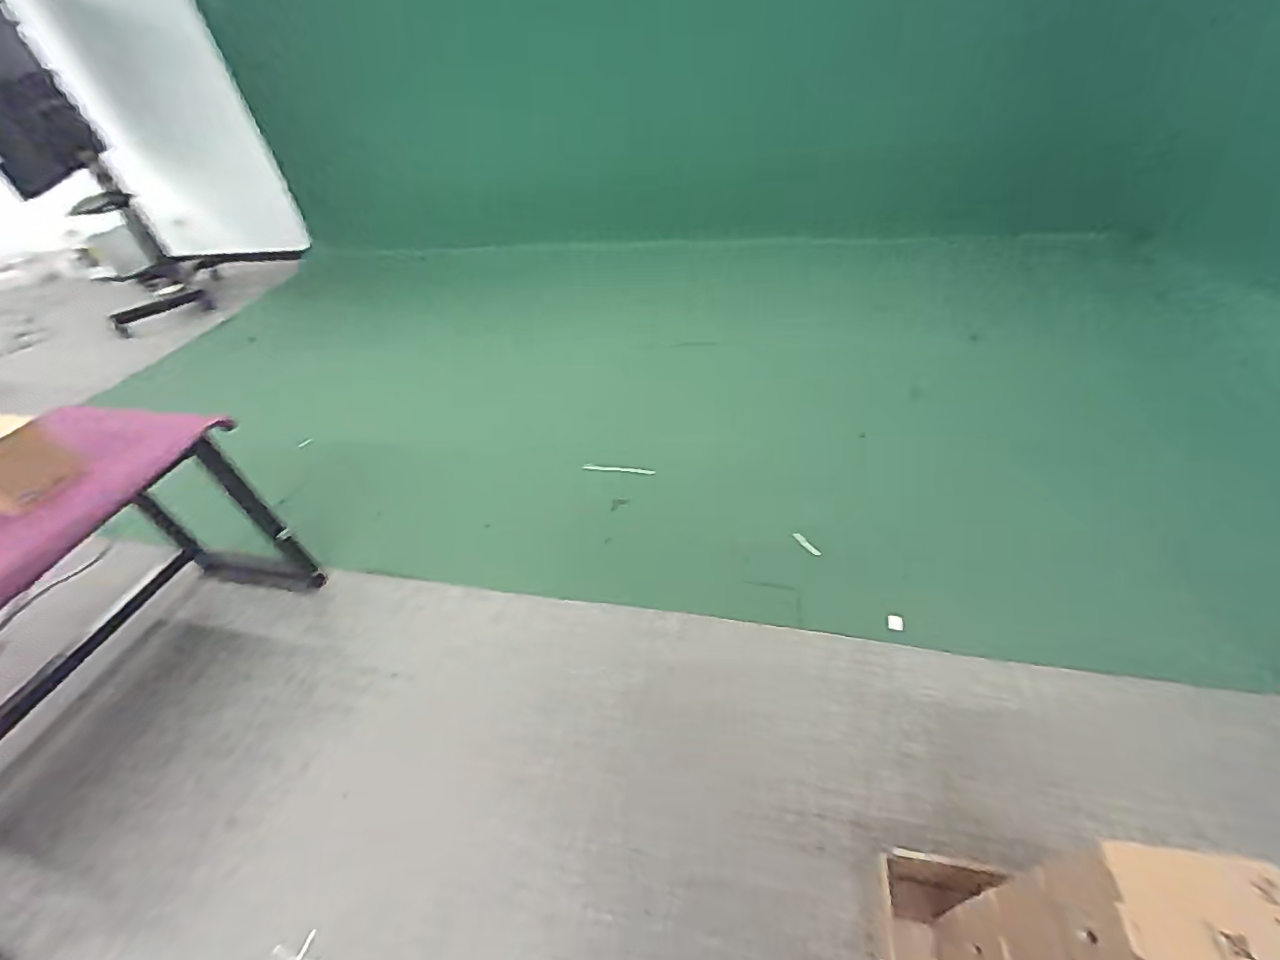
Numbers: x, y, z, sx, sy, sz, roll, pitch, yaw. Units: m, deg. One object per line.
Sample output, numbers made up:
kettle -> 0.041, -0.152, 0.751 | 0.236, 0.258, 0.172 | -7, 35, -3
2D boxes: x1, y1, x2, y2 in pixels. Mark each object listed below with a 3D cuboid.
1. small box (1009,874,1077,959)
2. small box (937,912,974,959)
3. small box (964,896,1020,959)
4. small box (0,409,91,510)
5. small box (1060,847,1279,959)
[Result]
small box -> 0.624, 0.654, 0.717 | 0.179, 0.176, 0.168 | 3, 46, 11
small box -> 0.647, 0.888, 0.943 | 0.179, 0.176, 0.168 | 5, 45, 13
small box -> 0.633, 0.772, 0.830 | 0.179, 0.176, 0.168 | 4, 45, 12
small box -> -1.504, -0.048, 1.300 | 0.179, 0.176, 0.168 | 9, 44, 18
small box -> 0.611, 0.538, 0.602 | 0.179, 0.176, 0.168 | 2, 46, 12
